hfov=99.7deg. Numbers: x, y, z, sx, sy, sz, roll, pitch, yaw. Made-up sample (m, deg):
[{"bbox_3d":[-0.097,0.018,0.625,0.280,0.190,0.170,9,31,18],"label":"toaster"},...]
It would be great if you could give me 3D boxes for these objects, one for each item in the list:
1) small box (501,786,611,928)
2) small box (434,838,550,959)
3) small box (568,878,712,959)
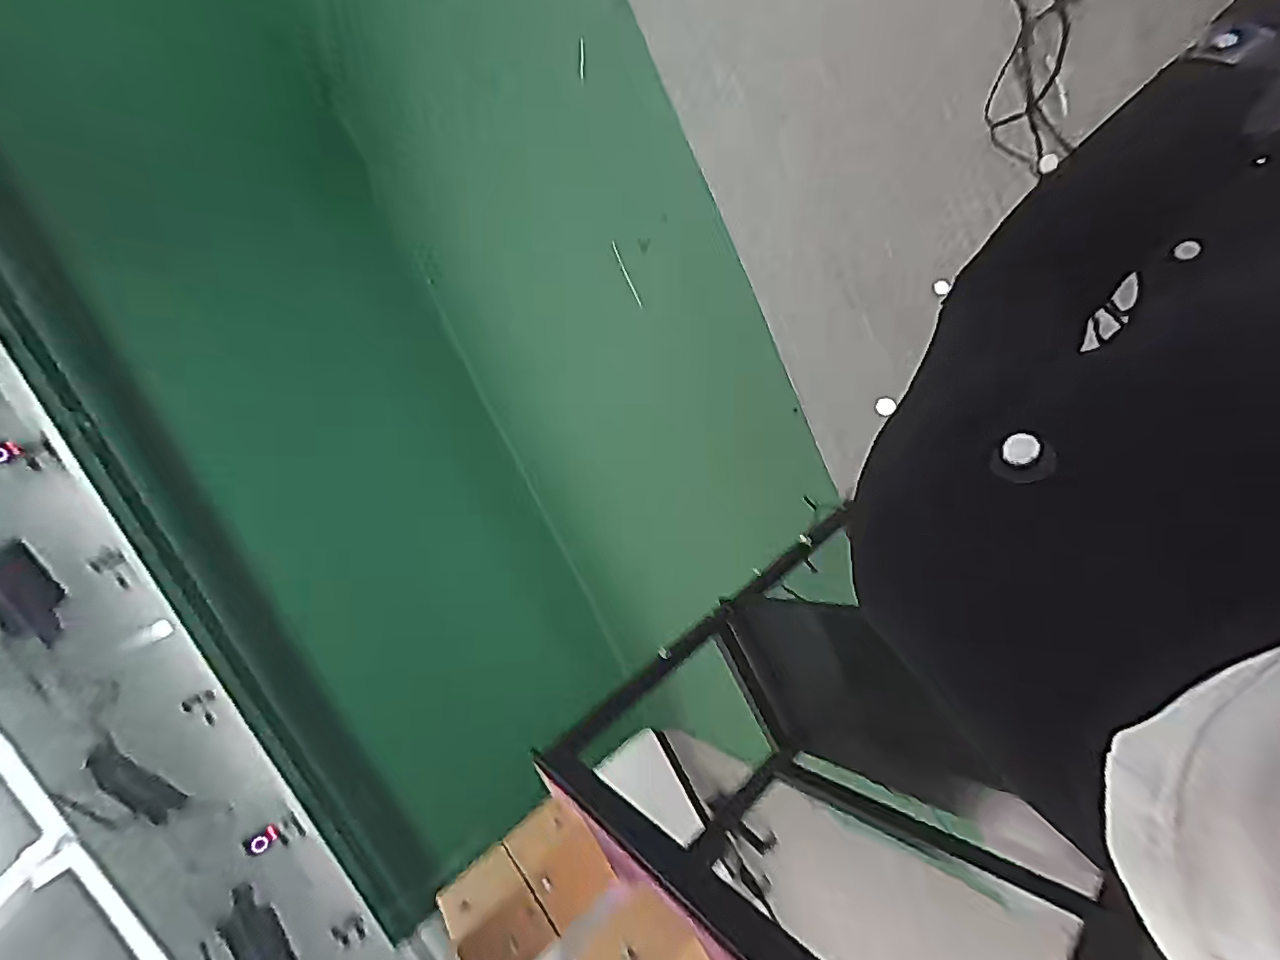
[{"bbox_3d":[-0.194,0.871,1.268,0.168,0.176,0.179,-12,105,59],"label":"small box"},{"bbox_3d":[-0.319,0.934,1.180,0.179,0.176,0.168,-12,105,59],"label":"small box"},{"bbox_3d":[0.015,0.815,0.895,0.179,0.176,0.168,-11,108,58],"label":"small box"}]
